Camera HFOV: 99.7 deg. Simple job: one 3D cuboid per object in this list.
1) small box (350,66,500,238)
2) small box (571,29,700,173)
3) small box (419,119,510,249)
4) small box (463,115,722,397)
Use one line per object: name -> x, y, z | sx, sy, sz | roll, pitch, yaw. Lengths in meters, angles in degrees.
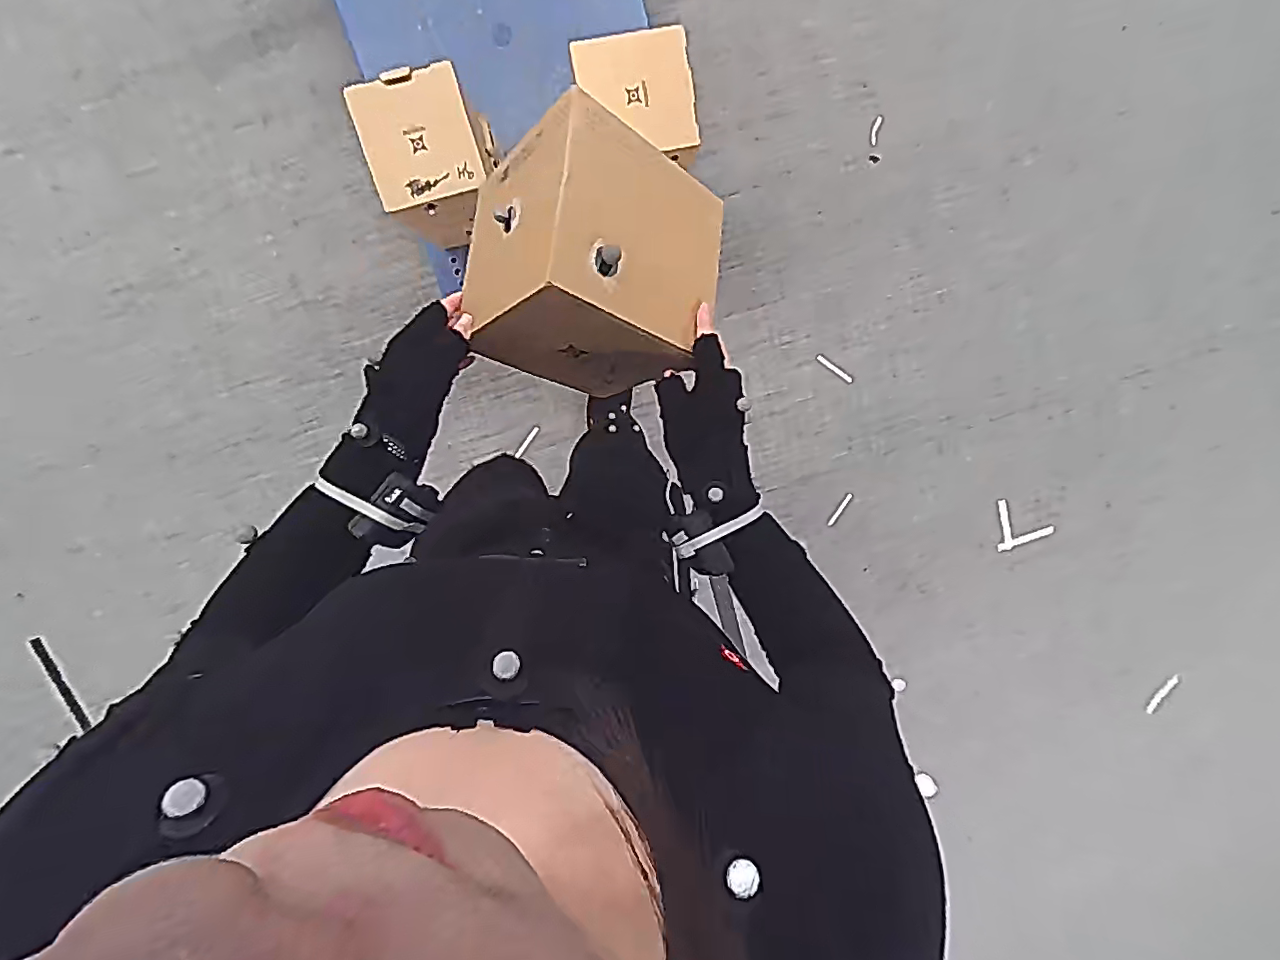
small box -> -0.332, -0.522, 0.886 | 0.168, 0.176, 0.179 | -15, 103, 0
small box -> -0.009, -0.592, 0.894 | 0.179, 0.176, 0.168 | -11, 104, -2
small box -> -0.338, -0.561, 1.046 | 0.179, 0.176, 0.168 | -12, 104, 0
small box -> -0.040, -0.197, 0.512 | 0.179, 0.168, 0.176 | 15, 77, -39
